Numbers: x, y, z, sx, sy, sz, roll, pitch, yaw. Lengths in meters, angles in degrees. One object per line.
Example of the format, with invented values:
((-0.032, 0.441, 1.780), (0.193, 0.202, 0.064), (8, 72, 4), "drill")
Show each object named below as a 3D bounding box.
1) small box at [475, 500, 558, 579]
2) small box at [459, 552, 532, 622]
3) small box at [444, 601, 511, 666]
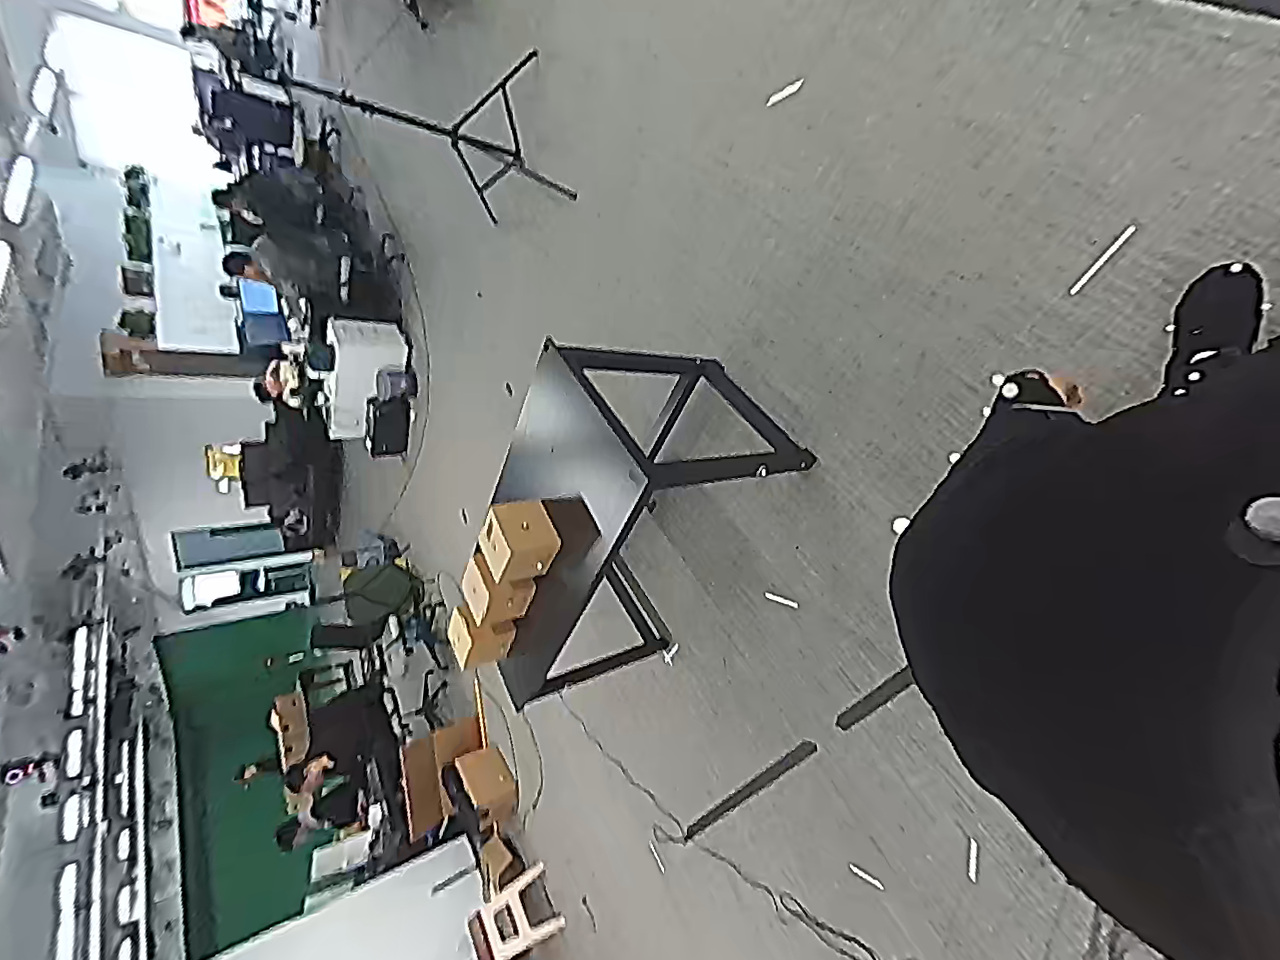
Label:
((-0.377, 0.173, 1.646), (0.179, 0.176, 0.168), (57, 134, 28), "small box")
((-0.480, 0.341, 1.799), (0.179, 0.176, 0.168), (55, 132, 32), "small box")
((-0.581, 0.534, 1.946), (0.168, 0.176, 0.179), (53, 131, 33), "small box")
